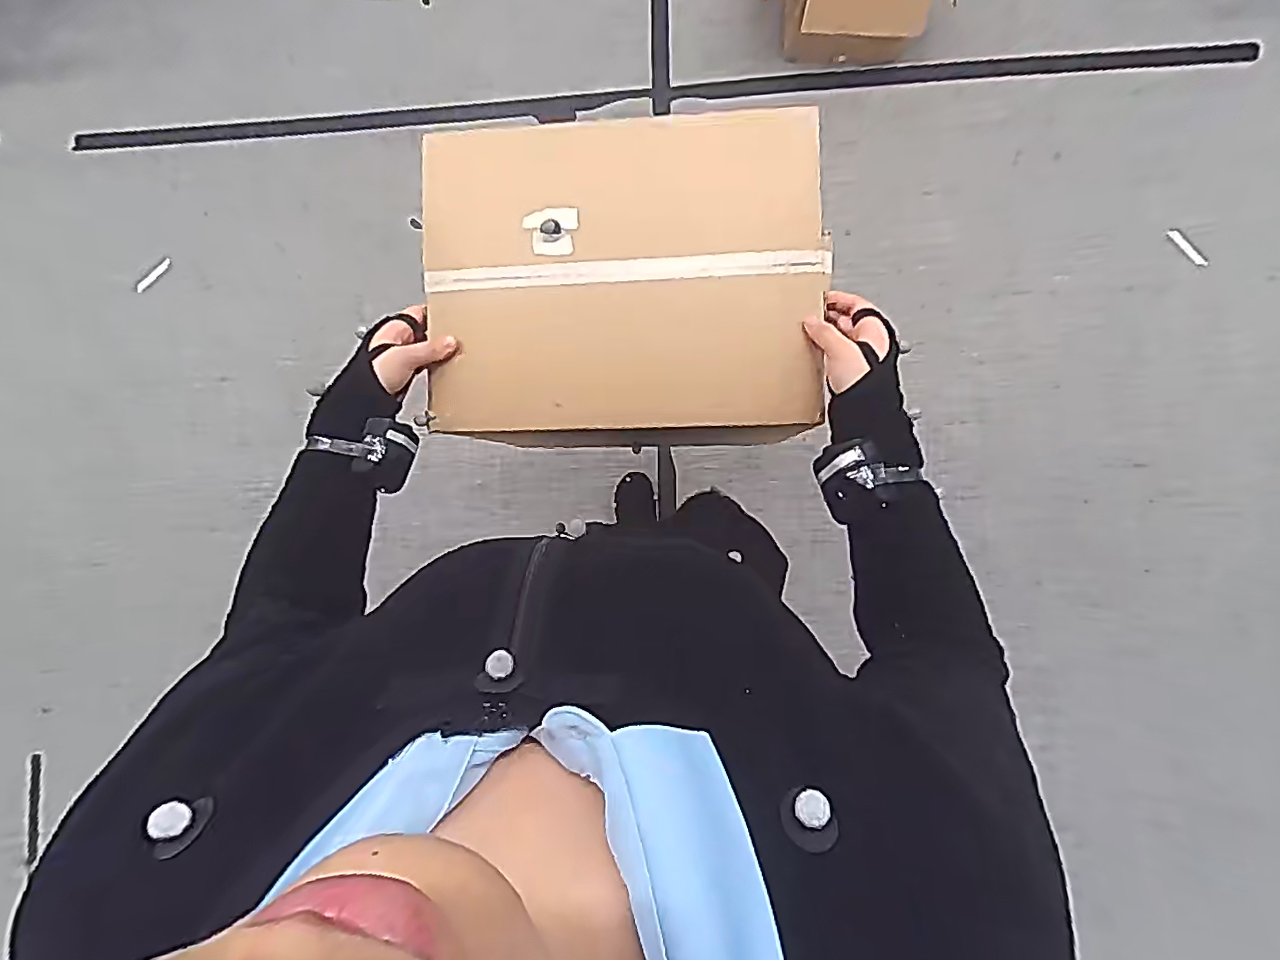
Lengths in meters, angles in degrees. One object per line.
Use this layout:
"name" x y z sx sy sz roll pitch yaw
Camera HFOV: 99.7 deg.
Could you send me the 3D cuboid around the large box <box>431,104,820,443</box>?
"large box" -0.005 -0.215 0.704 0.408 0.320 0.320 -1 89 6
